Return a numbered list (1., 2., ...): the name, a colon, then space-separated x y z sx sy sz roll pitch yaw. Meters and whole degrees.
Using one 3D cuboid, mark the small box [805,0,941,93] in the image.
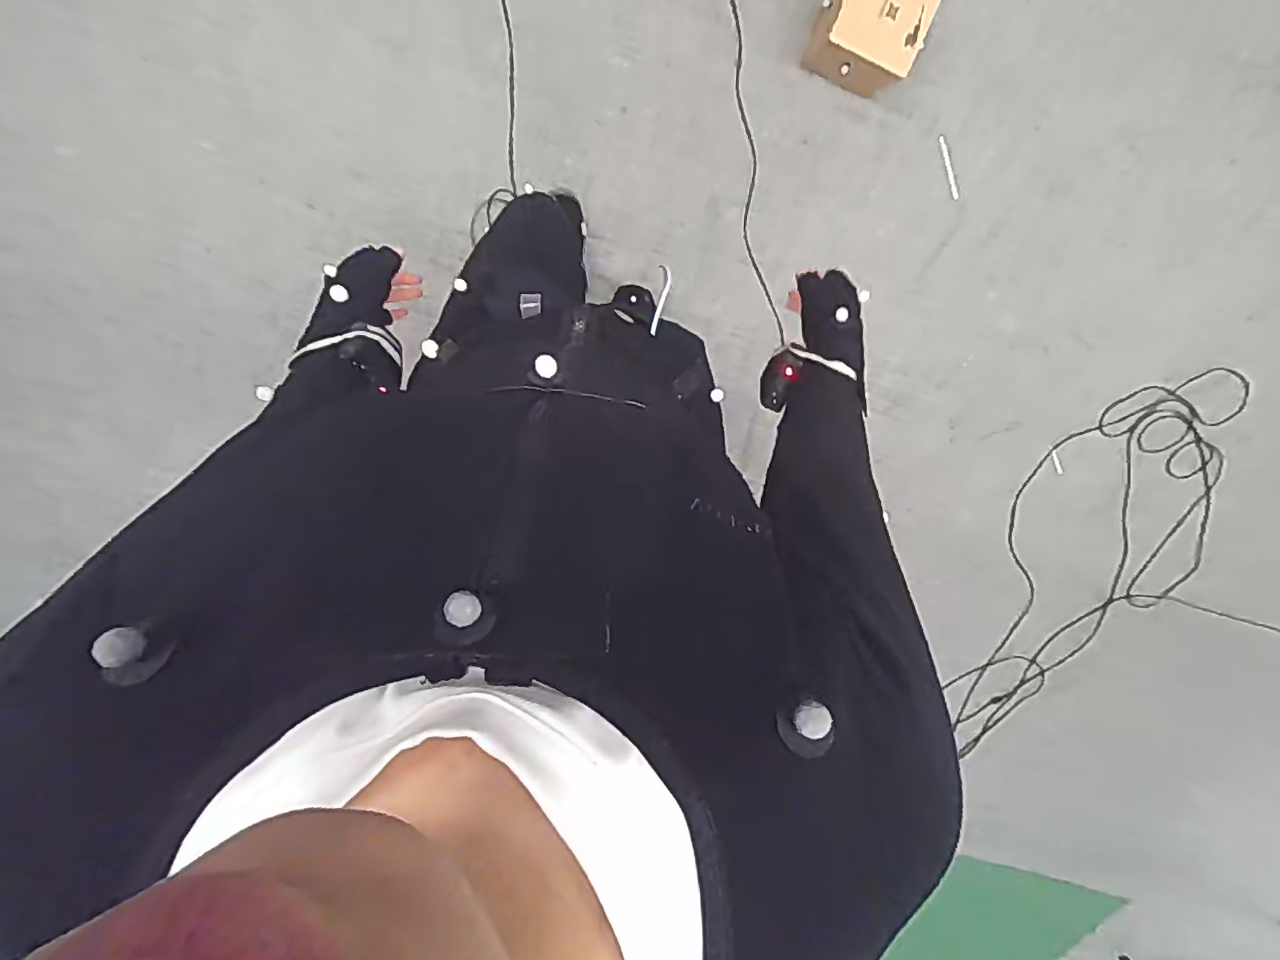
1. small box: 0.455 -0.903 1.069 0.179 0.176 0.168 18 113 -10
